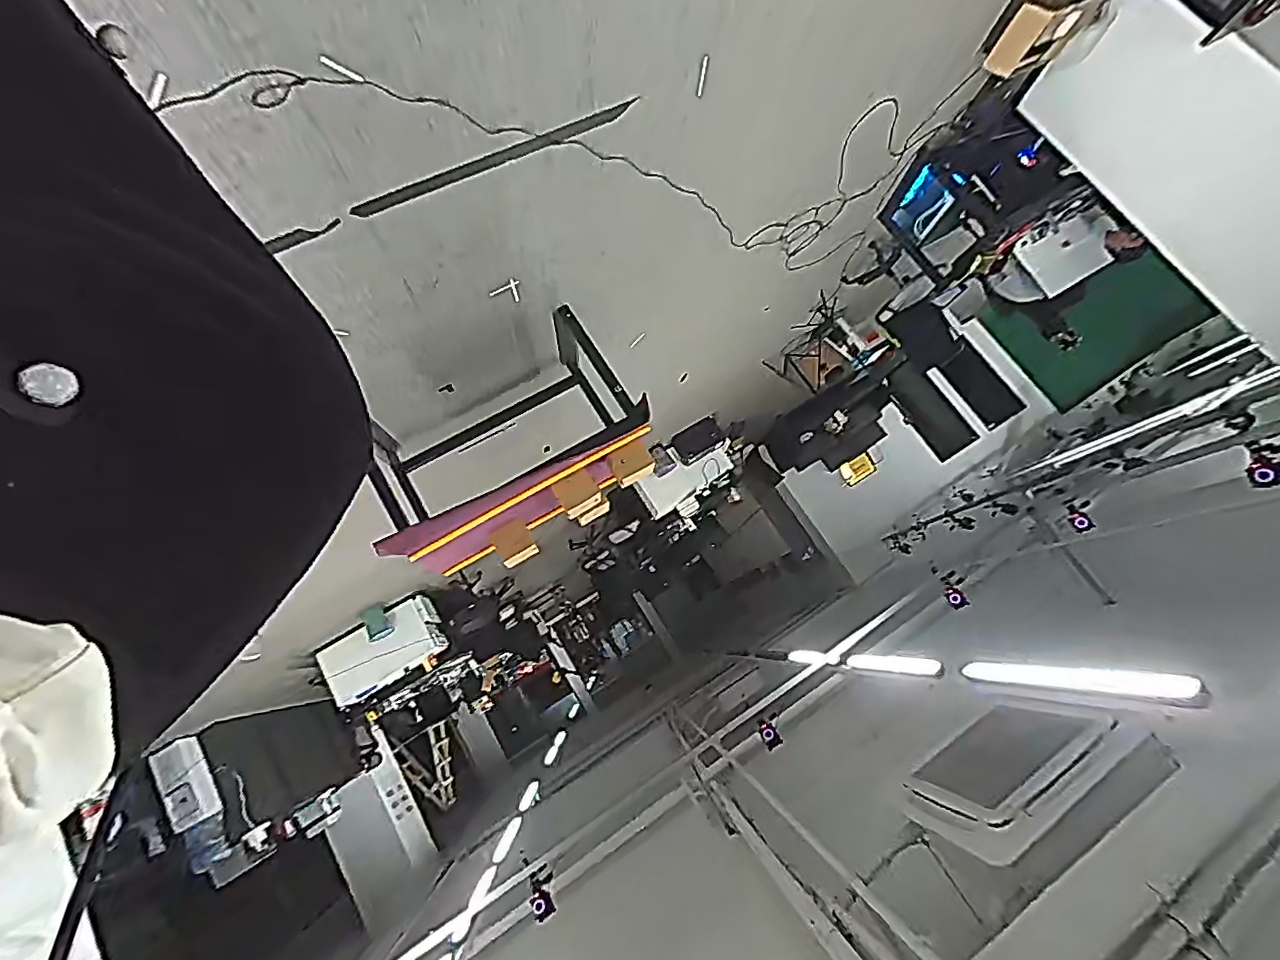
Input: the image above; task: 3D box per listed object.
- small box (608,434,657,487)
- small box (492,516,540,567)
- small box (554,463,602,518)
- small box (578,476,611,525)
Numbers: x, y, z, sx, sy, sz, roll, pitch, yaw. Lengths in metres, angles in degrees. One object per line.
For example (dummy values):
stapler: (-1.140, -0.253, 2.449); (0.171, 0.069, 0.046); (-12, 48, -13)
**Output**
small box: (-0.042, -0.094, 2.593); (0.179, 0.176, 0.168); (-28, 167, -11)
small box: (-0.622, 0.309, 2.699); (0.179, 0.176, 0.168); (-31, 166, -13)
small box: (-0.292, 0.049, 2.527); (0.179, 0.176, 0.168); (-30, 167, -11)
small box: (-0.264, 0.103, 2.793); (0.168, 0.176, 0.179); (-30, 165, -13)
